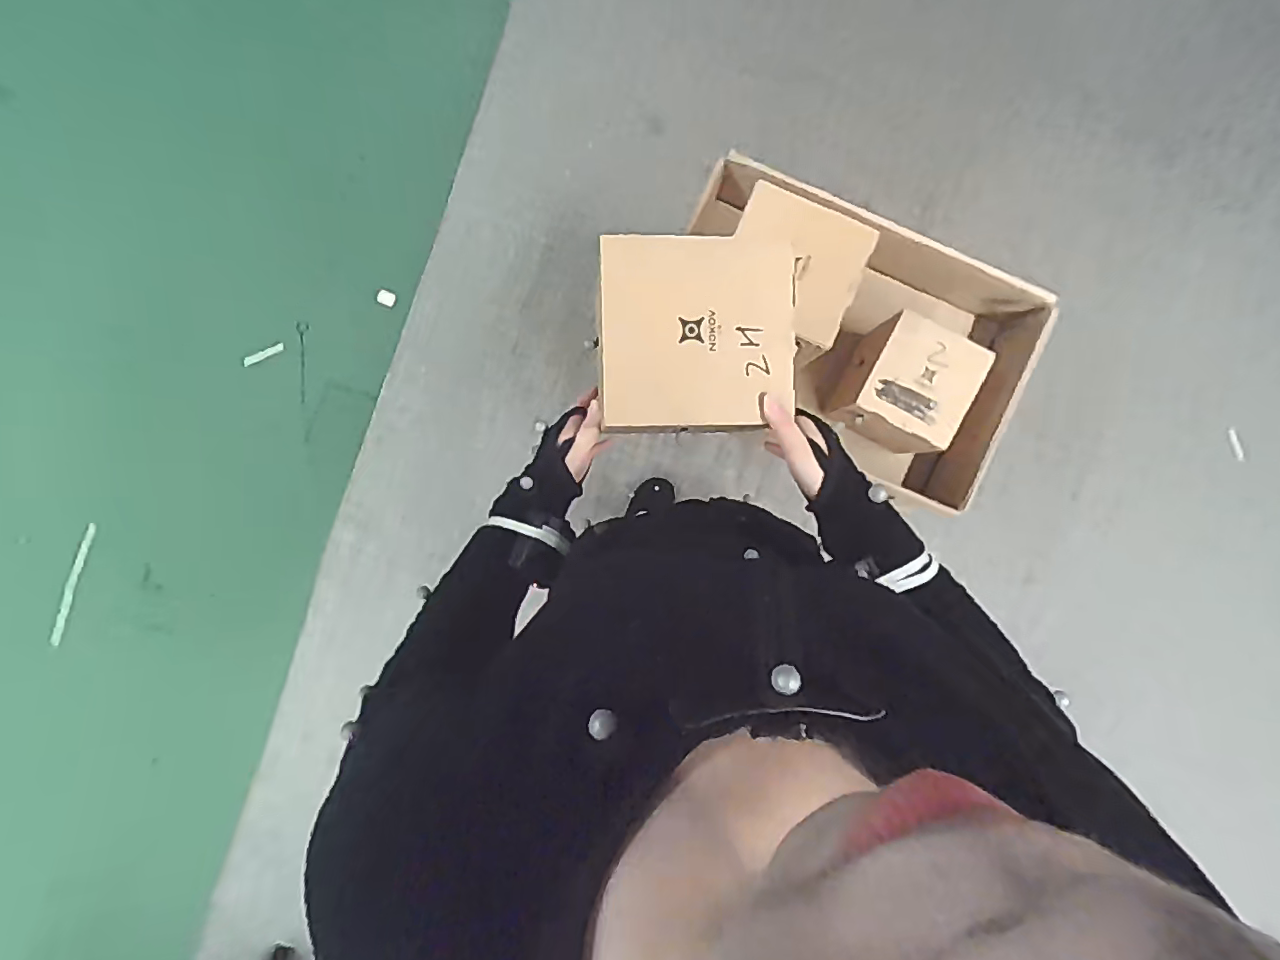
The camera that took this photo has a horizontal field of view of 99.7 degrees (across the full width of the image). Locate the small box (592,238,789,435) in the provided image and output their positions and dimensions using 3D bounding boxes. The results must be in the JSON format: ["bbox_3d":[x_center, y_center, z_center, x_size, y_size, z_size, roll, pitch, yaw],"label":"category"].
[{"bbox_3d":[0.039,-0.132,0.556,0.179,0.176,0.168,-1,94,-7],"label":"small box"}]

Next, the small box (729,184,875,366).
[{"bbox_3d":[0.195,-0.278,0.782,0.179,0.176,0.168,24,91,-2],"label":"small box"}]
